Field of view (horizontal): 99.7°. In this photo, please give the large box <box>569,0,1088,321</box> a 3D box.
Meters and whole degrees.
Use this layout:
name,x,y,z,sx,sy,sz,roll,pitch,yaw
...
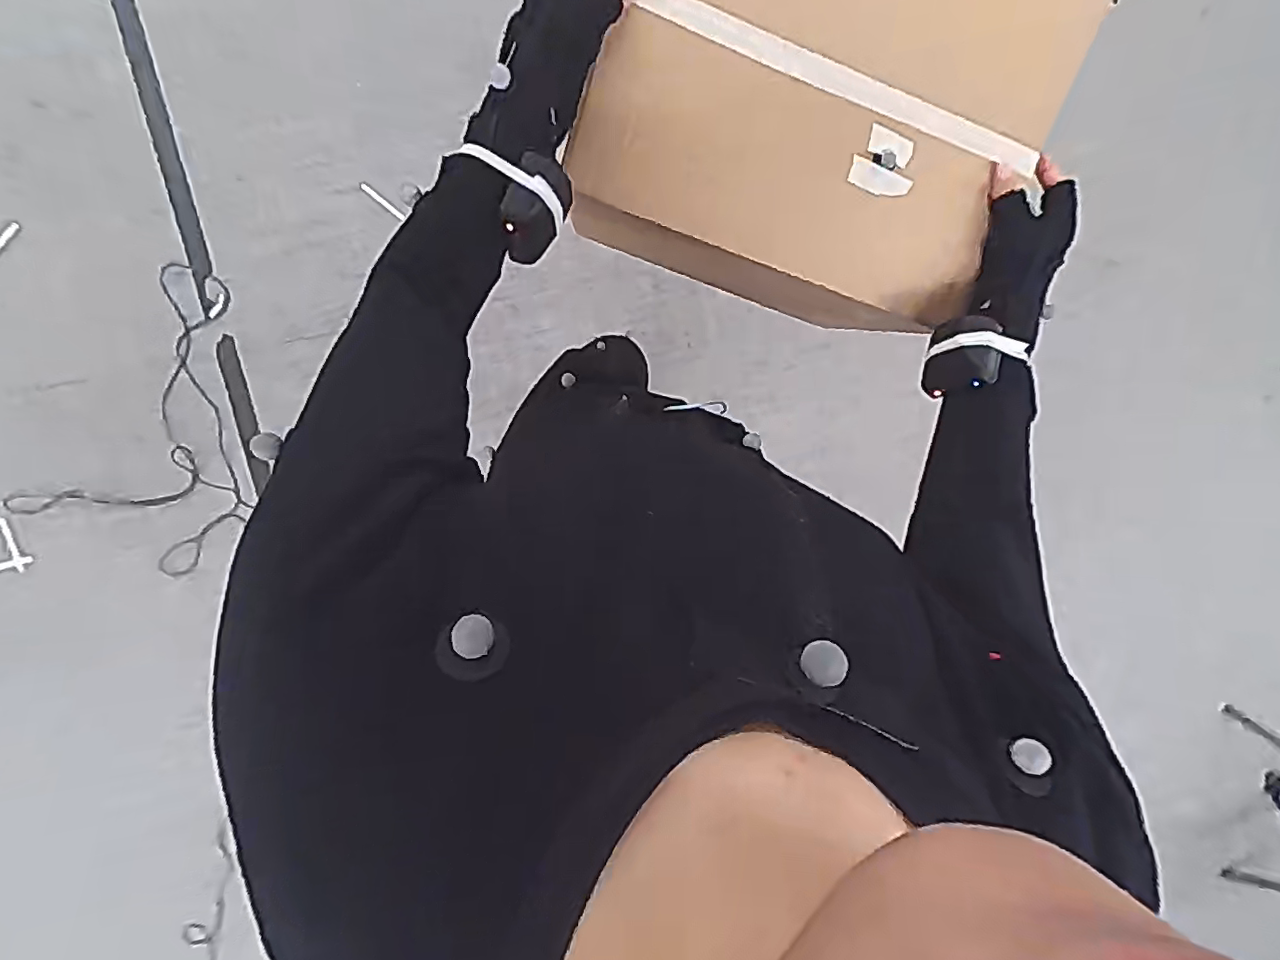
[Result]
name,x,y,z,sx,sy,sz,roll,pitch,yaw
large box,0.153,-0.396,0.622,0.408,0.320,0.320,17,106,-10
